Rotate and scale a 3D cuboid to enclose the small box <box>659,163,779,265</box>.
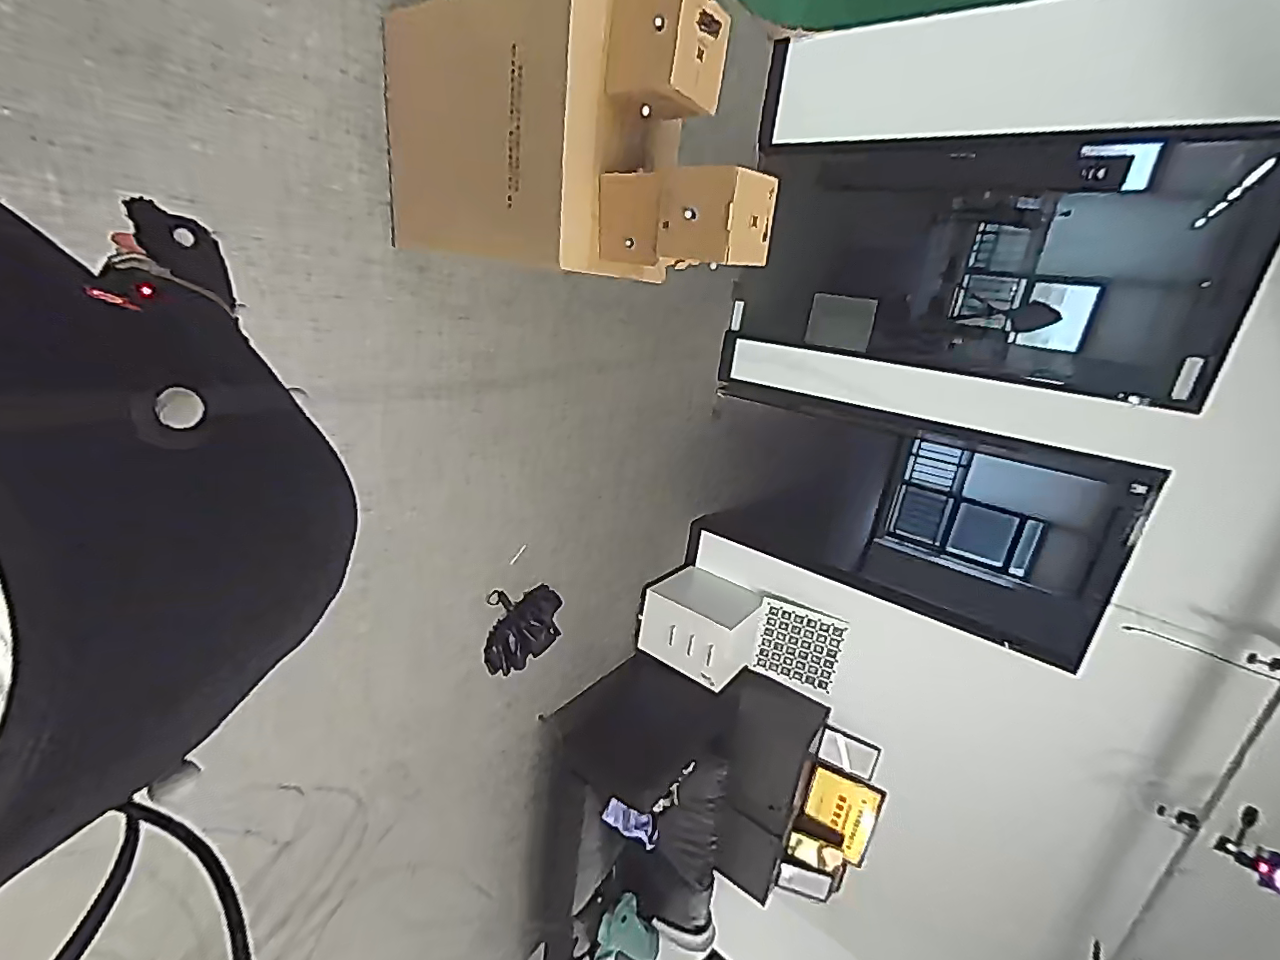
[{"bbox_3d":[0.154,-0.530,1.091,0.179,0.176,0.168,-24,127,-47],"label":"small box"}]

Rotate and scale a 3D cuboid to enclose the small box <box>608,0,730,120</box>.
[{"bbox_3d":[0.054,-0.846,1.075,0.168,0.176,0.179,-14,118,-50],"label":"small box"}]

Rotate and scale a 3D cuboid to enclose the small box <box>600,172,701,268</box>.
[{"bbox_3d":[0.026,-0.568,1.185,0.168,0.176,0.179,-29,128,-46],"label":"small box"}]
